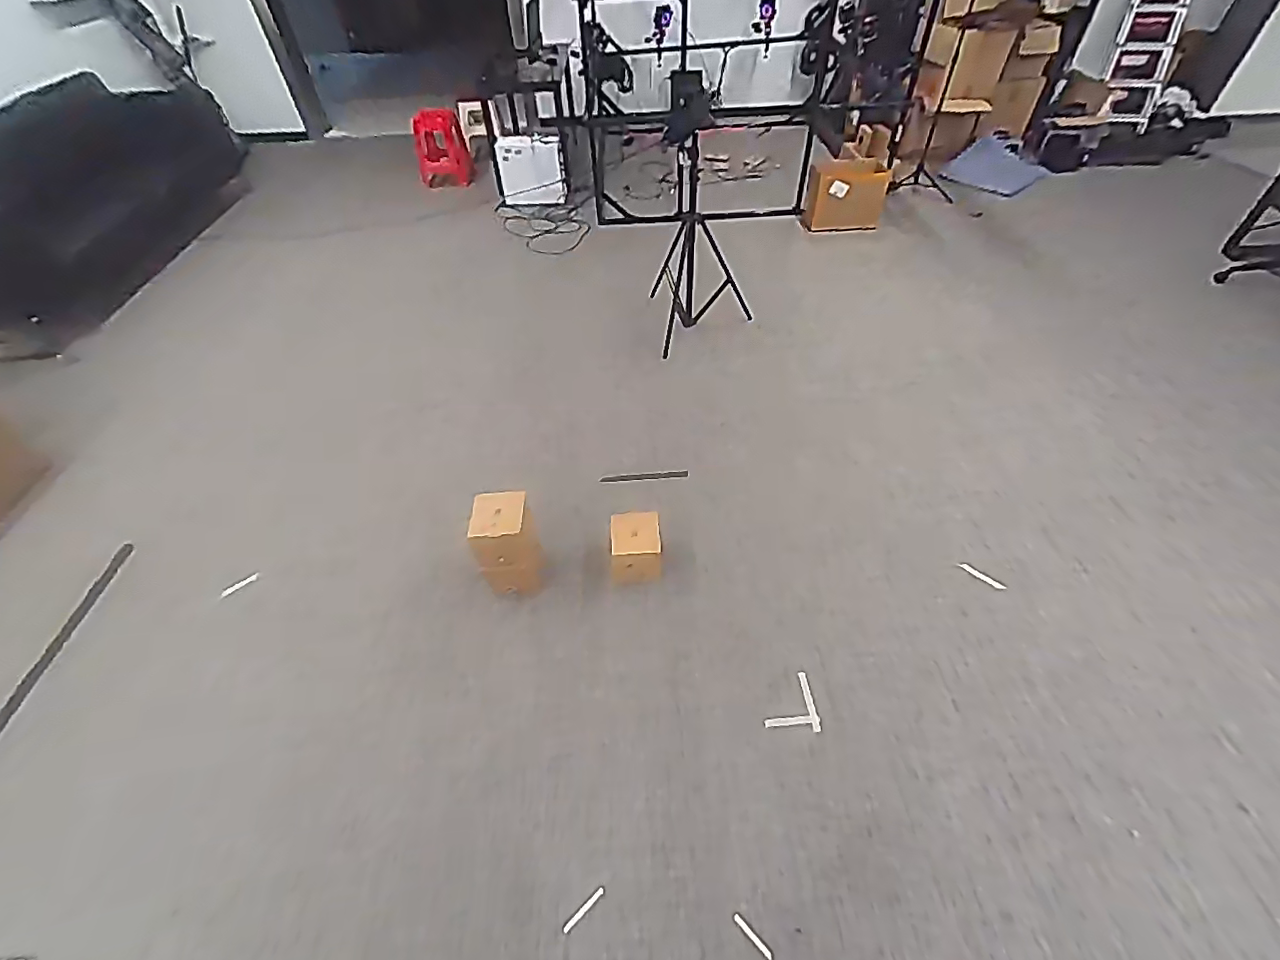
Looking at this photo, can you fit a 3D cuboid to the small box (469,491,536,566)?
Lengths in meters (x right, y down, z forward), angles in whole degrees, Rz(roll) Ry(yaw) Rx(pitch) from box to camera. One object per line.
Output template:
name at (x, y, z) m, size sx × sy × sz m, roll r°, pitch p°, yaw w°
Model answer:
small box at (-0.439, 0.158, 1.756) m, size 0.168 × 0.176 × 0.179 m, roll -4°, pitch 48°, yaw 1°

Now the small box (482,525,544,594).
small box at (-0.431, 0.275, 1.871) m, size 0.168 × 0.176 × 0.179 m, roll -4°, pitch 47°, yaw 1°

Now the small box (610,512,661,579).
small box at (-0.014, 0.234, 1.888) m, size 0.168 × 0.176 × 0.179 m, roll -4°, pitch 47°, yaw -1°
